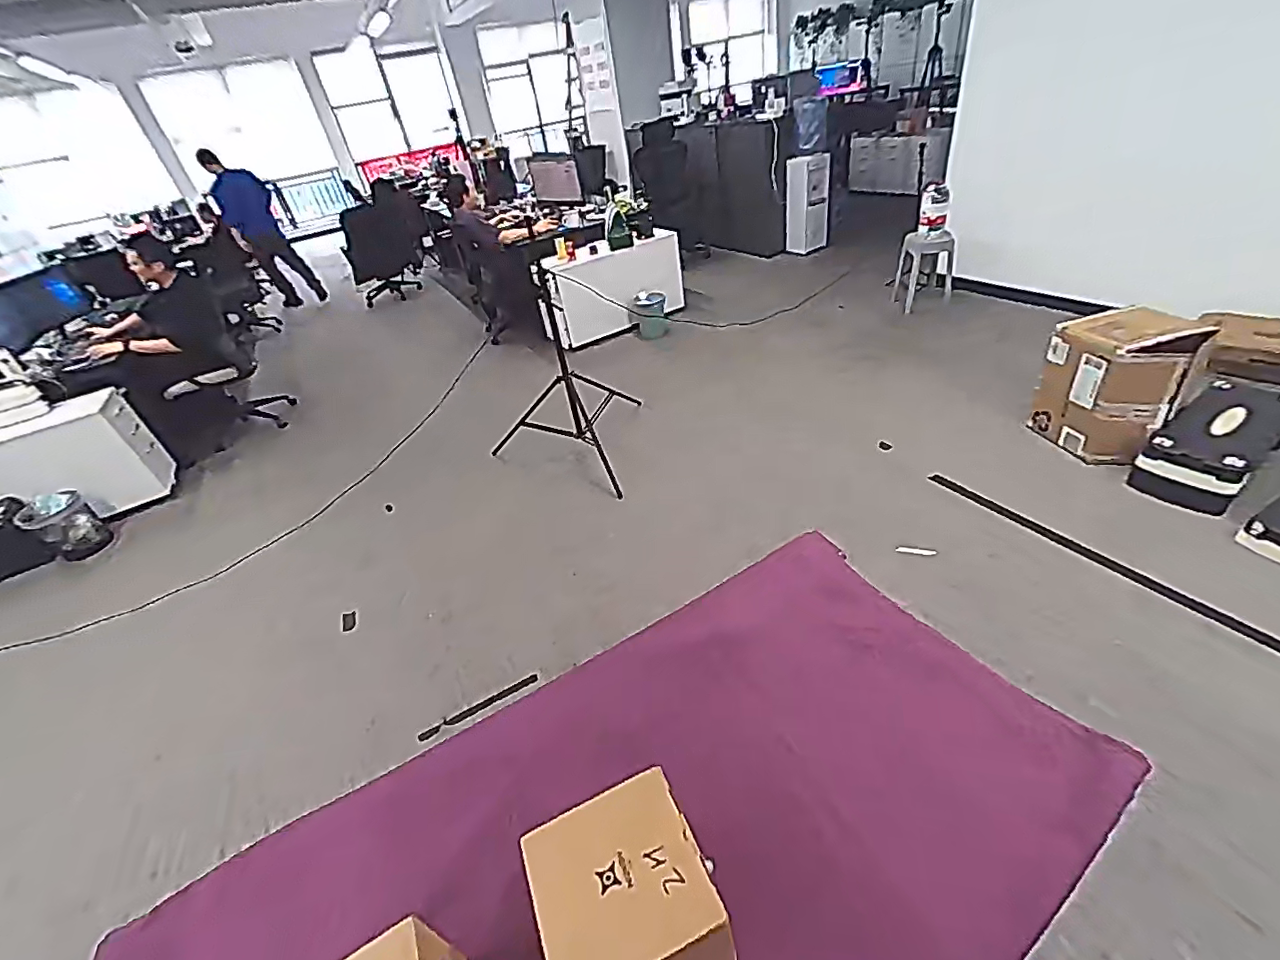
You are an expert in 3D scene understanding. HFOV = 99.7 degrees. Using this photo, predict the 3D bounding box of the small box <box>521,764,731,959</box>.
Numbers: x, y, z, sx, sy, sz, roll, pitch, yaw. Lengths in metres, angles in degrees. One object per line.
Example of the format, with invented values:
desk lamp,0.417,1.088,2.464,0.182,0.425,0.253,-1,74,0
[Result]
small box,-0.012,0.469,0.605,0.179,0.176,0.168,-21,37,-14
